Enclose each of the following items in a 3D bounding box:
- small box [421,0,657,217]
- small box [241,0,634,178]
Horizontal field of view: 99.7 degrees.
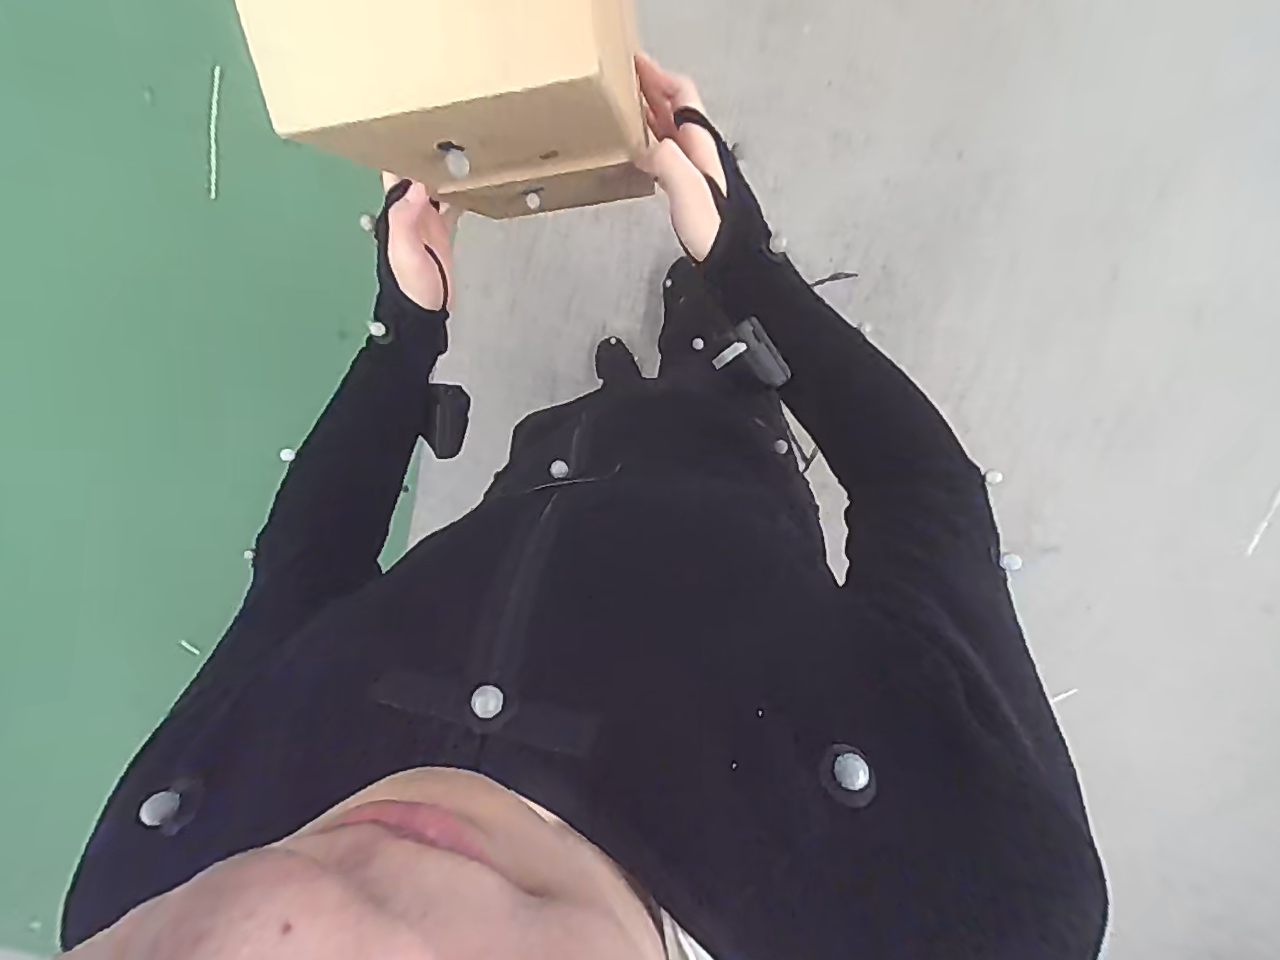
[{"bbox_3d":[-0.083,-0.333,0.461,0.179,0.176,0.168,-5,109,6],"label":"small box"},{"bbox_3d":[-0.100,-0.286,0.307,0.168,0.176,0.179,-5,109,8],"label":"small box"}]
